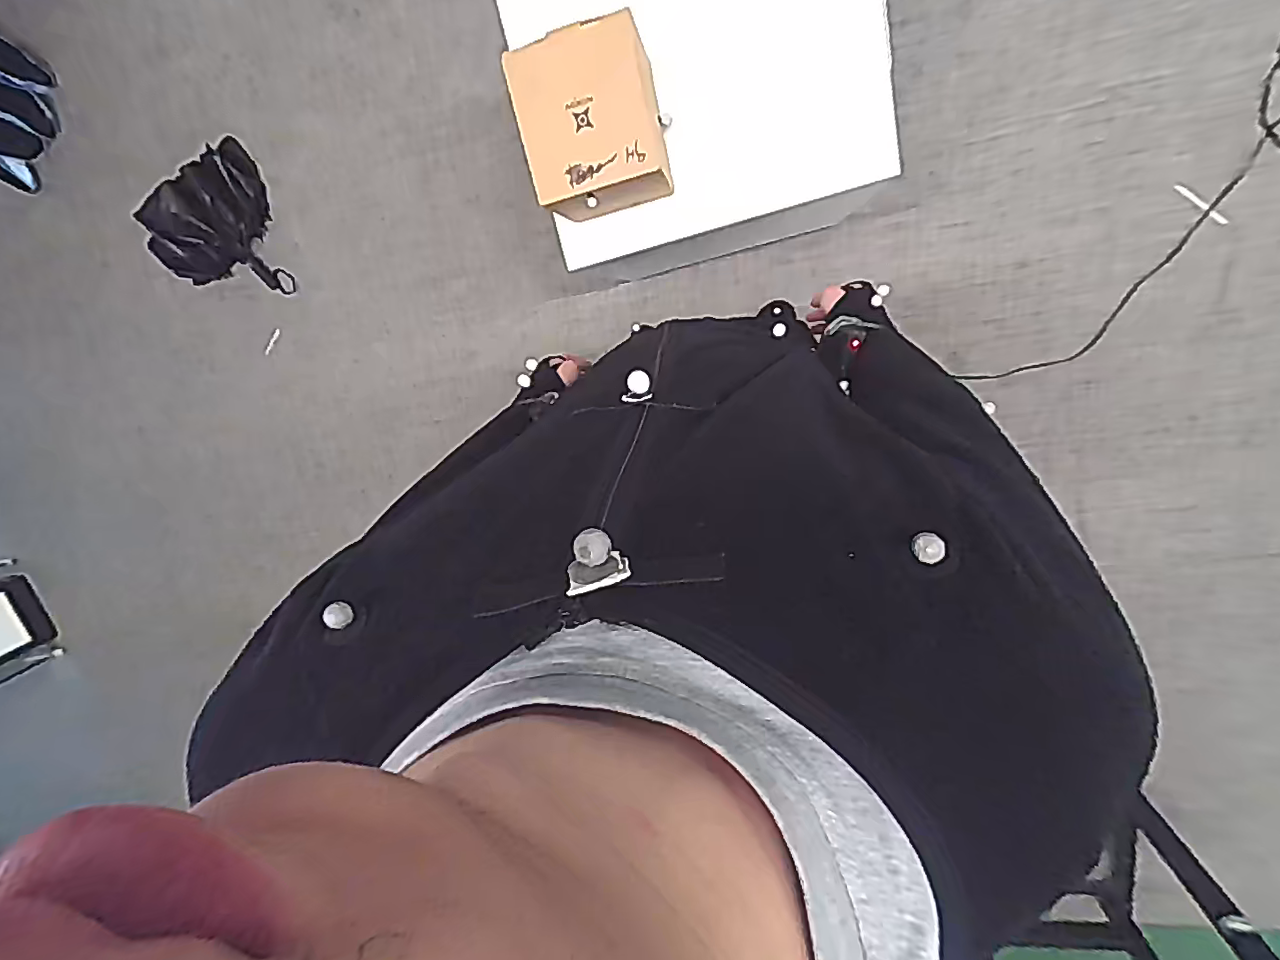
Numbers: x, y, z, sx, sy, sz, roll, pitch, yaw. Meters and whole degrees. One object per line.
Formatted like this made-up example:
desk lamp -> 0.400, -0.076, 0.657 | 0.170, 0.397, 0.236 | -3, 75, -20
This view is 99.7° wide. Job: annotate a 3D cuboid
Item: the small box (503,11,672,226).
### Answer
small box -> -0.059, -0.471, 0.738 | 0.168, 0.176, 0.179 | -11, 105, 13
